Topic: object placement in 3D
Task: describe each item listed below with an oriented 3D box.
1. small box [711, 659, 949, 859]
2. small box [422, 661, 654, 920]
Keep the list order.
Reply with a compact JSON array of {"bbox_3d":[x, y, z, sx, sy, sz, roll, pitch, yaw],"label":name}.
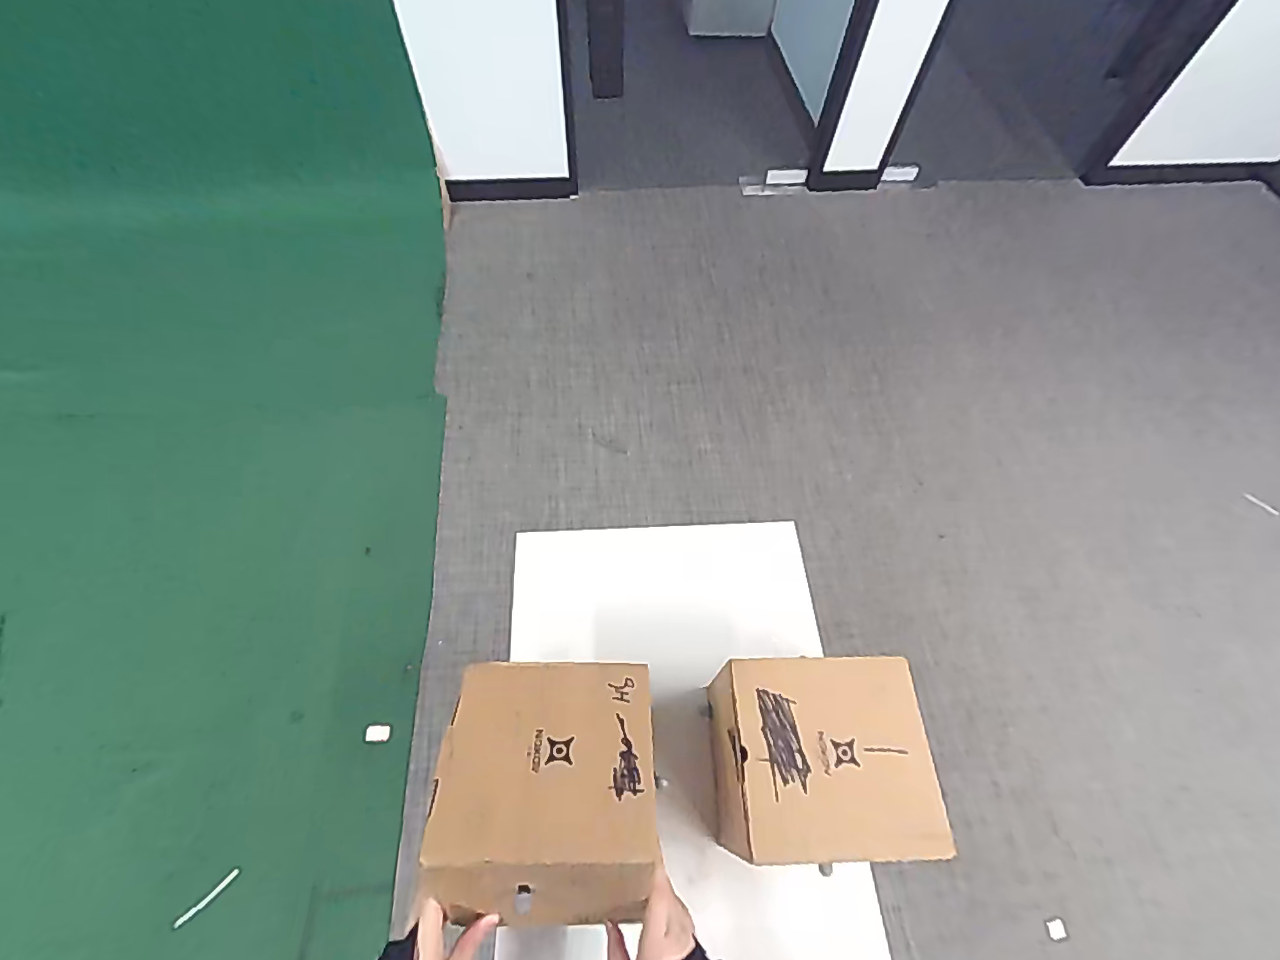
[{"bbox_3d":[0.171,0.287,0.560,0.179,0.176,0.168,0,60,-3],"label":"small box"},{"bbox_3d":[-0.079,0.291,0.509,0.179,0.176,0.168,2,38,-3],"label":"small box"}]
